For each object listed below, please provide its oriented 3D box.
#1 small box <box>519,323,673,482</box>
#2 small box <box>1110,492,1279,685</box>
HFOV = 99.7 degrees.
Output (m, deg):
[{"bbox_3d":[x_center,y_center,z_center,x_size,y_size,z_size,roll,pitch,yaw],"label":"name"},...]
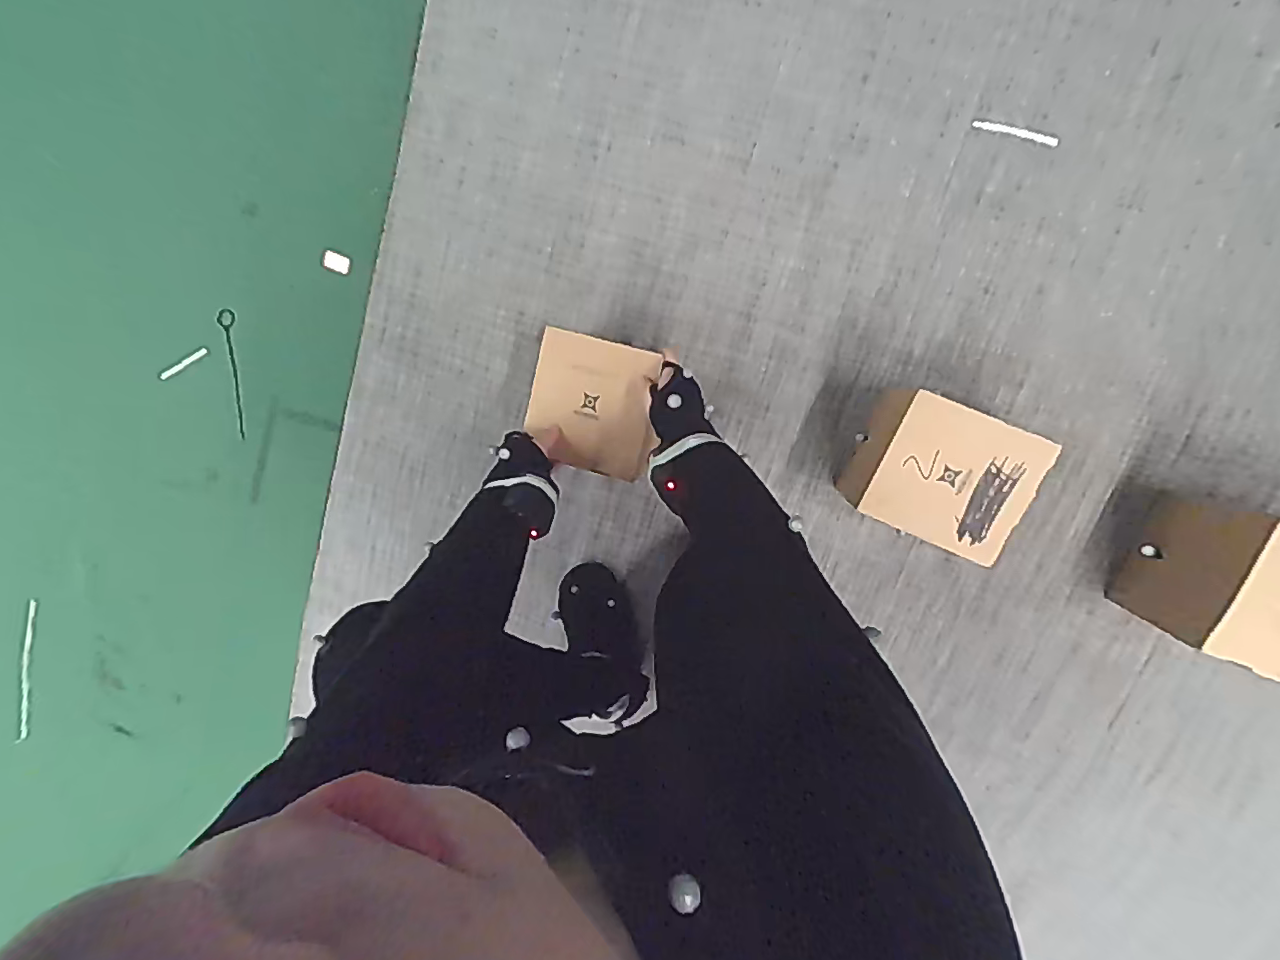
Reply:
[{"bbox_3d":[-0.055,-0.114,0.795,0.168,0.176,0.179,17,101,6],"label":"small box"},{"bbox_3d":[0.757,0.134,0.683,0.168,0.176,0.179,21,103,6],"label":"small box"}]
